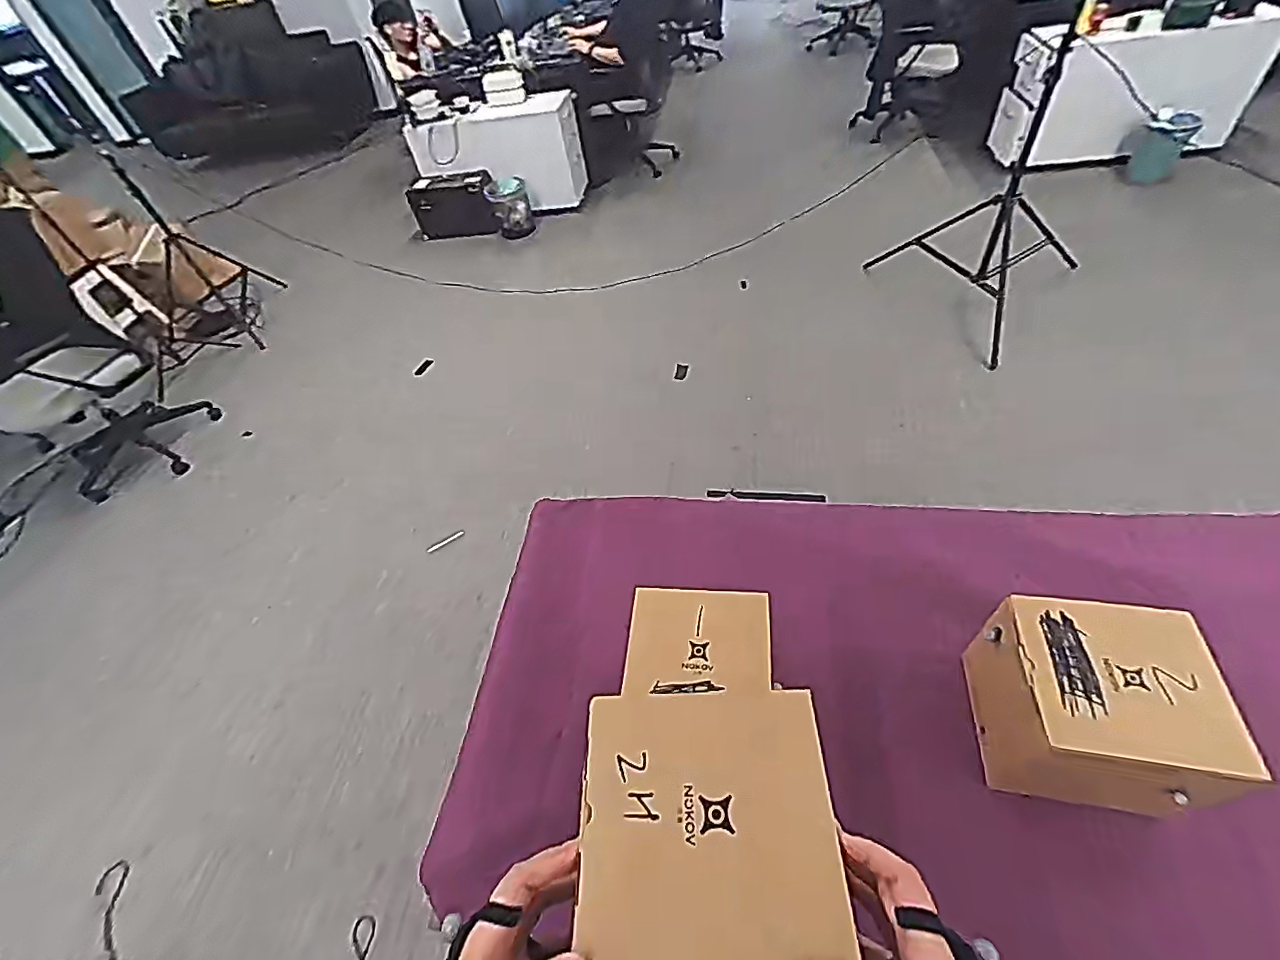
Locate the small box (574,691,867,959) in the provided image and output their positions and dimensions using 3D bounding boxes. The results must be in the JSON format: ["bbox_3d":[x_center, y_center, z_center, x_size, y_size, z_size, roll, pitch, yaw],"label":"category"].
[{"bbox_3d":[0.058,0.281,0.431,0.179,0.176,0.168,-4,48,7],"label":"small box"}]

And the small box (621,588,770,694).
[{"bbox_3d":[0.076,0.255,0.674,0.168,0.176,0.179,0,49,10],"label":"small box"}]
